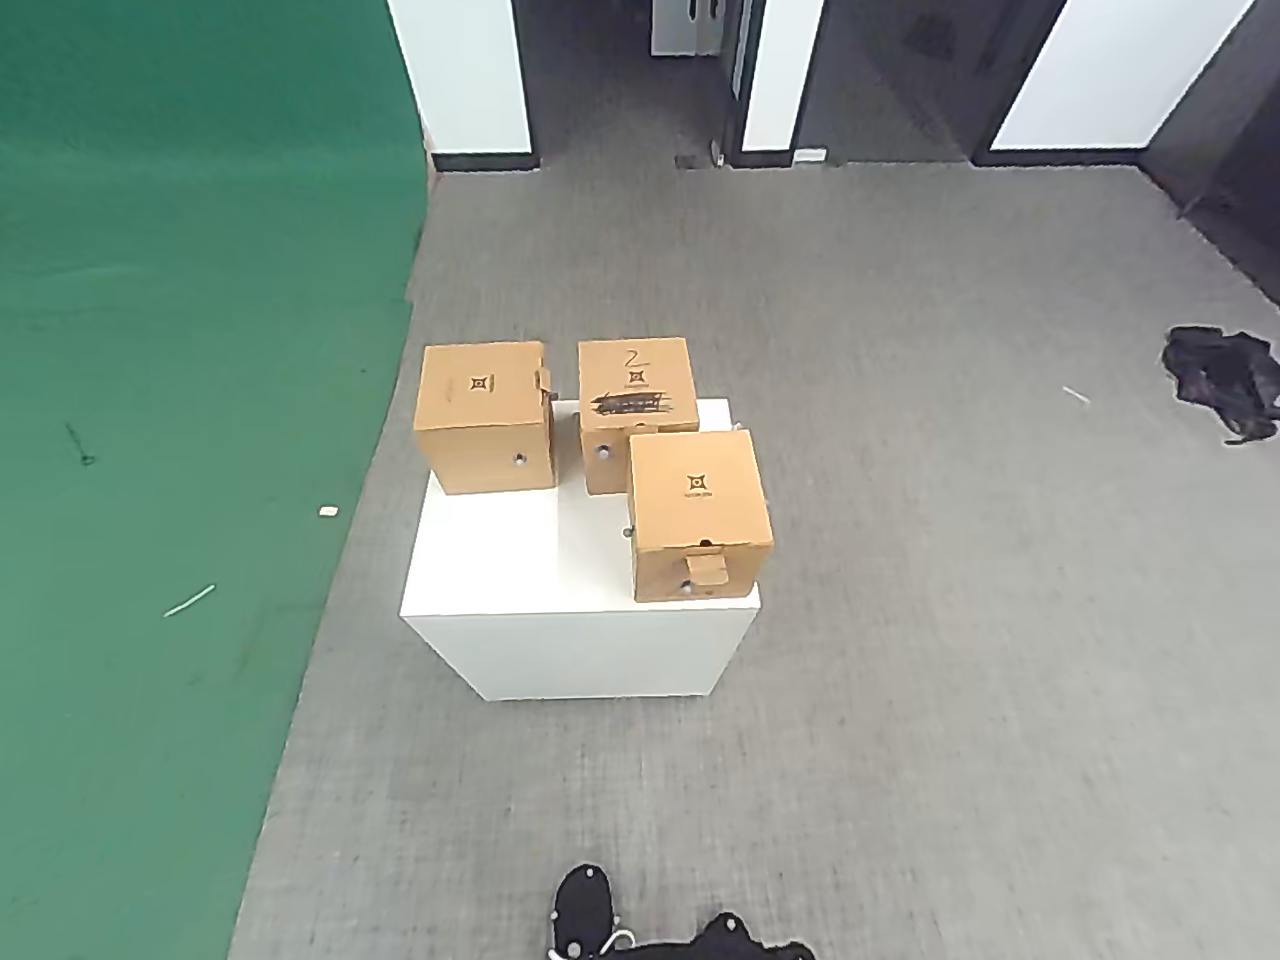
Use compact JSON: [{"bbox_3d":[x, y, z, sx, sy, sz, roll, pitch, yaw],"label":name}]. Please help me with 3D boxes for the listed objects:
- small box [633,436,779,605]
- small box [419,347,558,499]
[{"bbox_3d":[0.077,0.058,0.747,0.168,0.176,0.179,-2,56,-3],"label":"small box"},{"bbox_3d":[-0.220,-0.085,0.837,0.179,0.176,0.168,-4,55,-5],"label":"small box"}]
